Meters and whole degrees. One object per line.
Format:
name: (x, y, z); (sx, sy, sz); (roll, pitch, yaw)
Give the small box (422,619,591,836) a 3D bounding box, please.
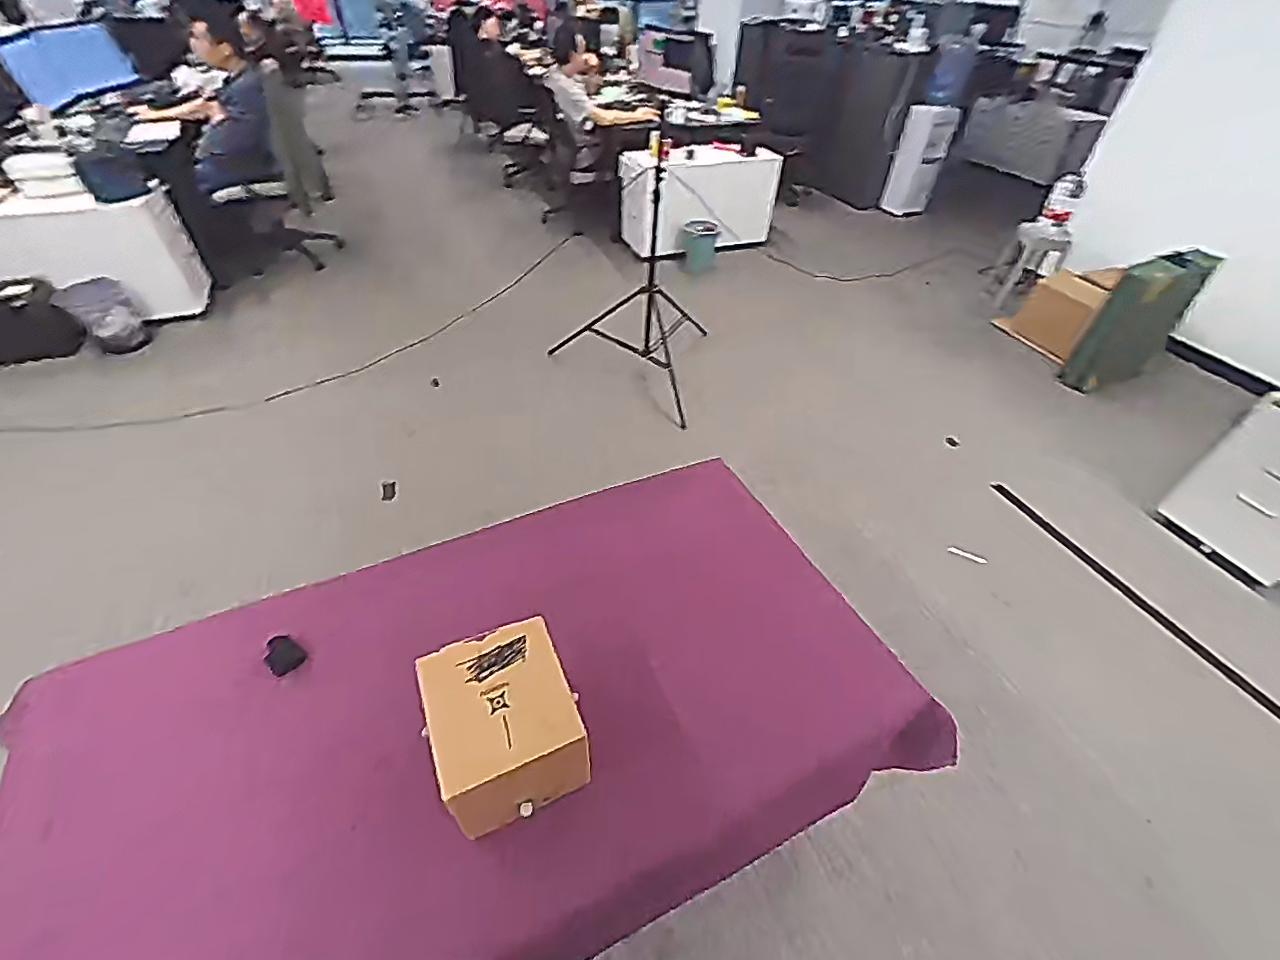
small box: (-0.171, 0.322, 0.708); (0.168, 0.176, 0.179); (-17, 47, -20)
